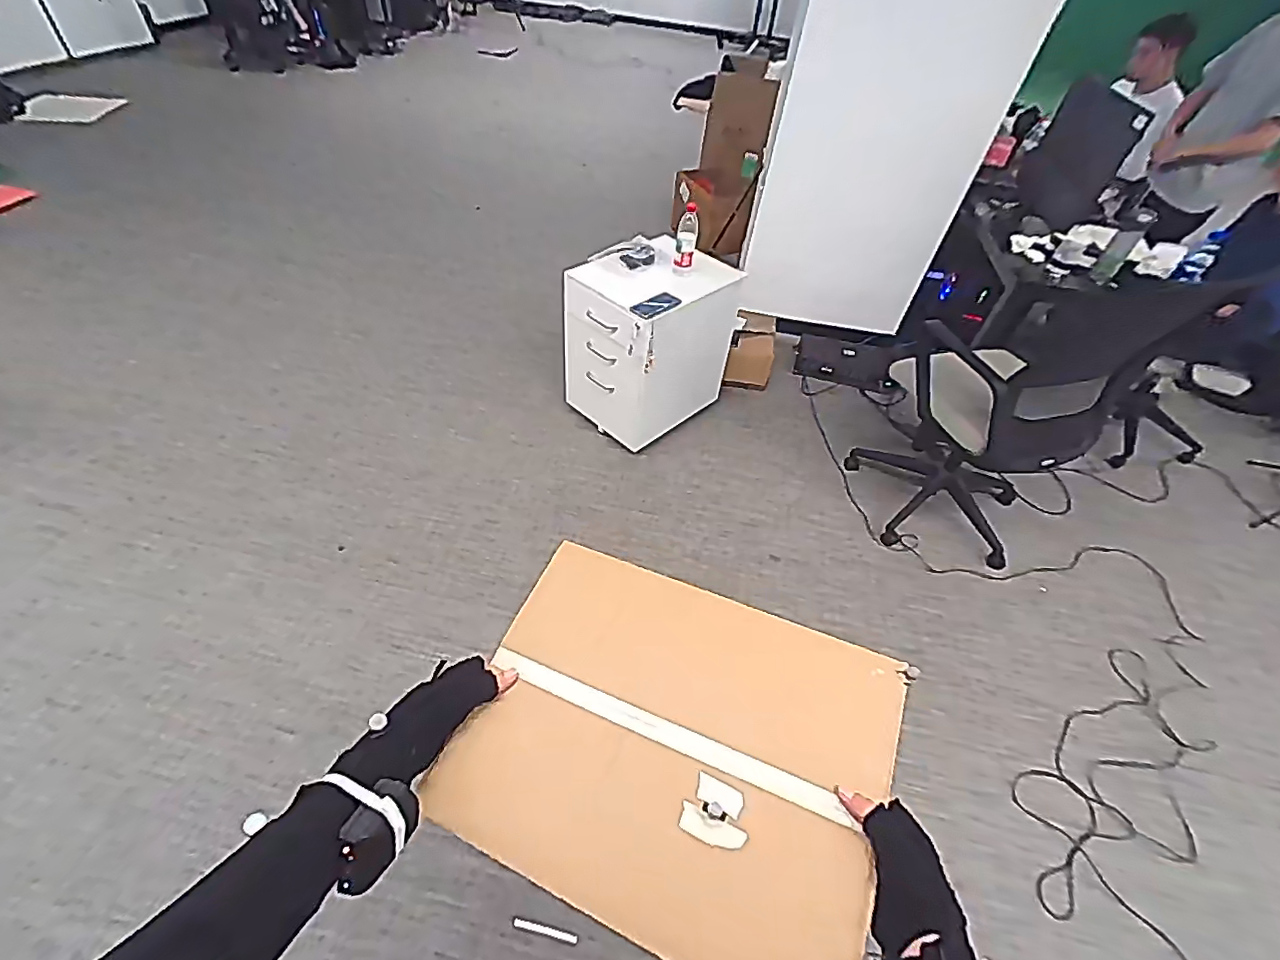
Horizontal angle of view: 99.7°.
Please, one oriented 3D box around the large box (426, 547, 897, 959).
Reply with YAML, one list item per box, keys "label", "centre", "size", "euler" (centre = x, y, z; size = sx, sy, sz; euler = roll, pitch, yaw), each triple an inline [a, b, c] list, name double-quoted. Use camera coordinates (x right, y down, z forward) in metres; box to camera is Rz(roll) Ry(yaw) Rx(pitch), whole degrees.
- label: "large box"
  centre: [0.039, 0.338, 0.663]
  size: [0.408, 0.320, 0.320]
  euler: [17, 57, 17]
